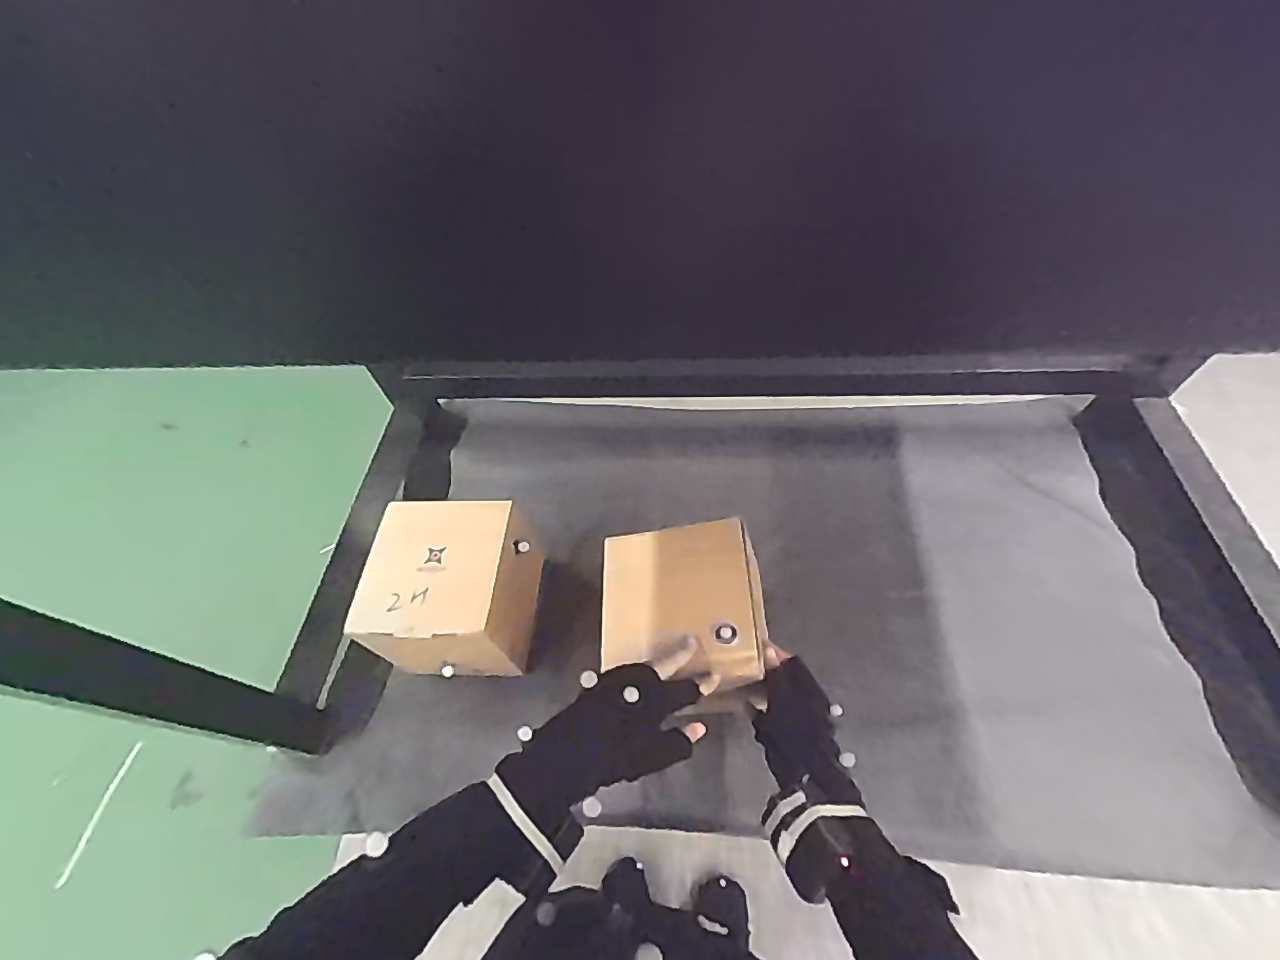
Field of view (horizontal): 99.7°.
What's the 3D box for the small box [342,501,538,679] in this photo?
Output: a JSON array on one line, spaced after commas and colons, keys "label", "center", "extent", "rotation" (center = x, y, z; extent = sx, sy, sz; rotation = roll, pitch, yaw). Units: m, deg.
[{"label": "small box", "center": [-0.239, 0.144, 0.704], "extent": [0.168, 0.176, 0.179], "rotation": [-1, 55, 6]}]
